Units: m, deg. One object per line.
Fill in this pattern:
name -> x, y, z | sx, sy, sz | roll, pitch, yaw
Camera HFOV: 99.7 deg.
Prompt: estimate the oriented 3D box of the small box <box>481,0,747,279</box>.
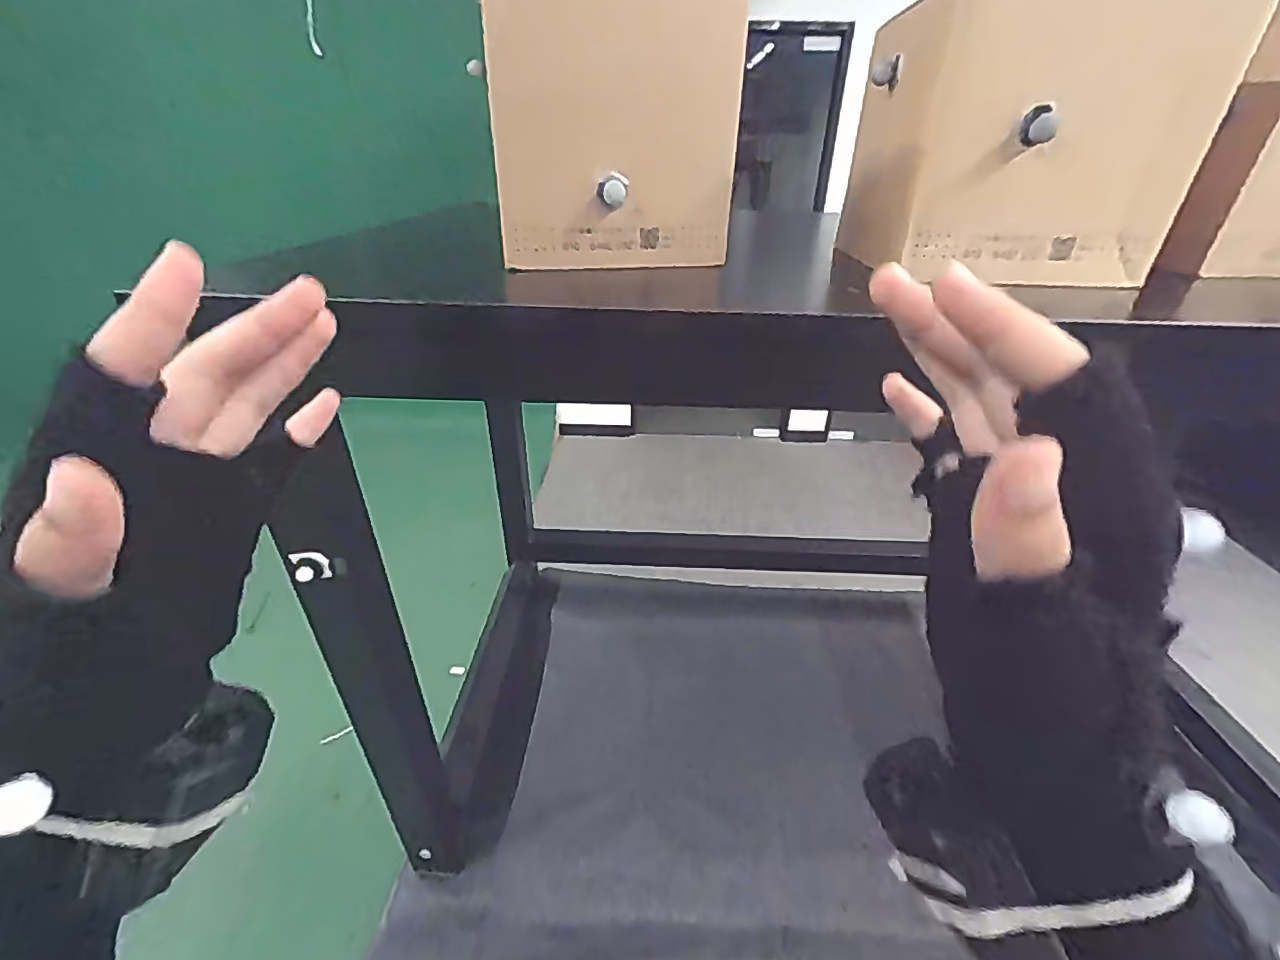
small box -> -0.032, -0.265, 0.431 | 0.168, 0.176, 0.179 | -6, 33, -11
